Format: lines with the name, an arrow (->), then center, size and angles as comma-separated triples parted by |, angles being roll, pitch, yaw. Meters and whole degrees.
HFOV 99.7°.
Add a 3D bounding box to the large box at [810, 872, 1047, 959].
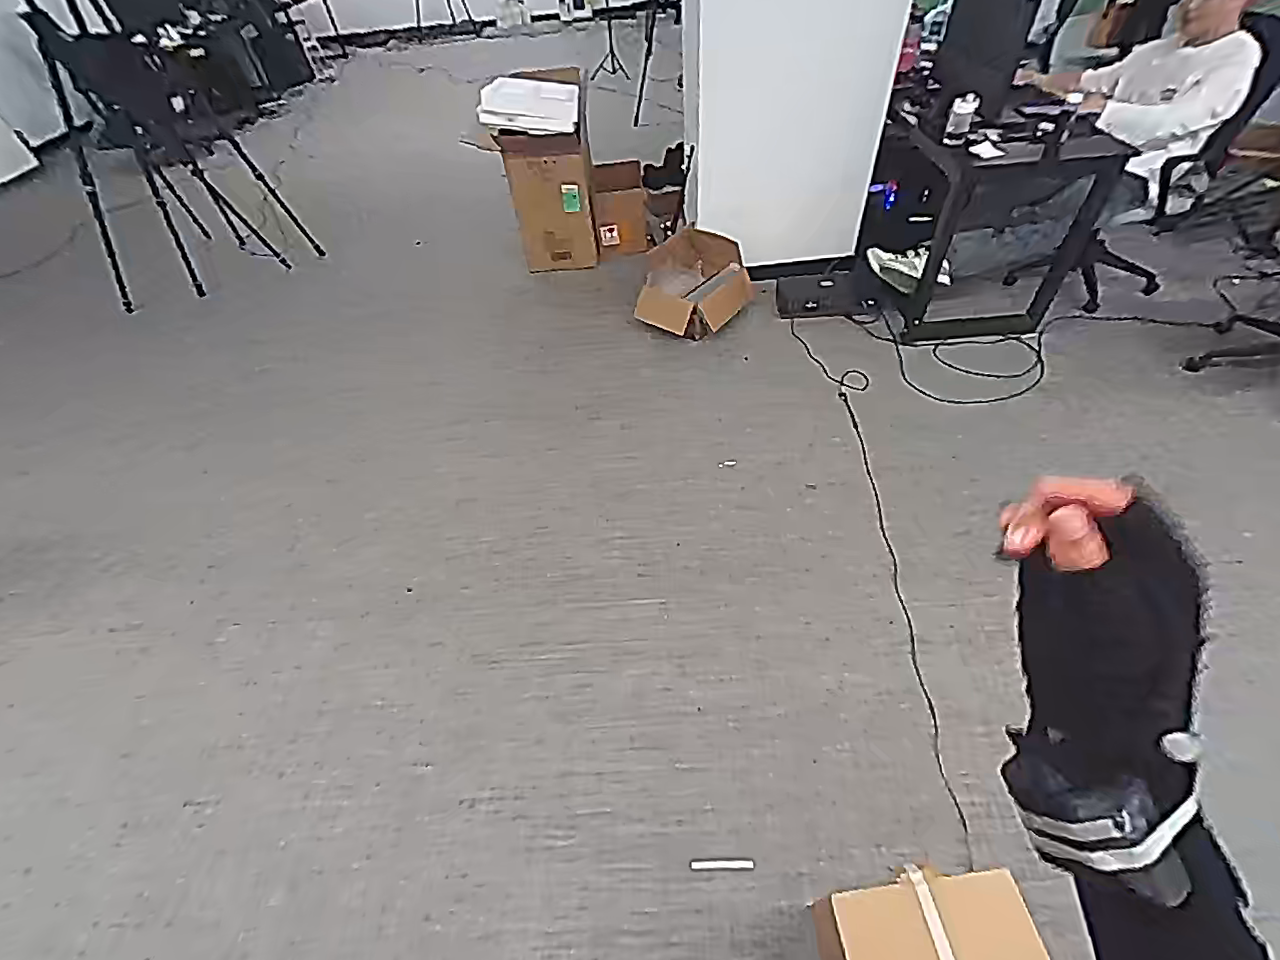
large box -> 0.523, 0.947, 0.922 | 0.320, 0.320, 0.408 | -9, 49, 1
